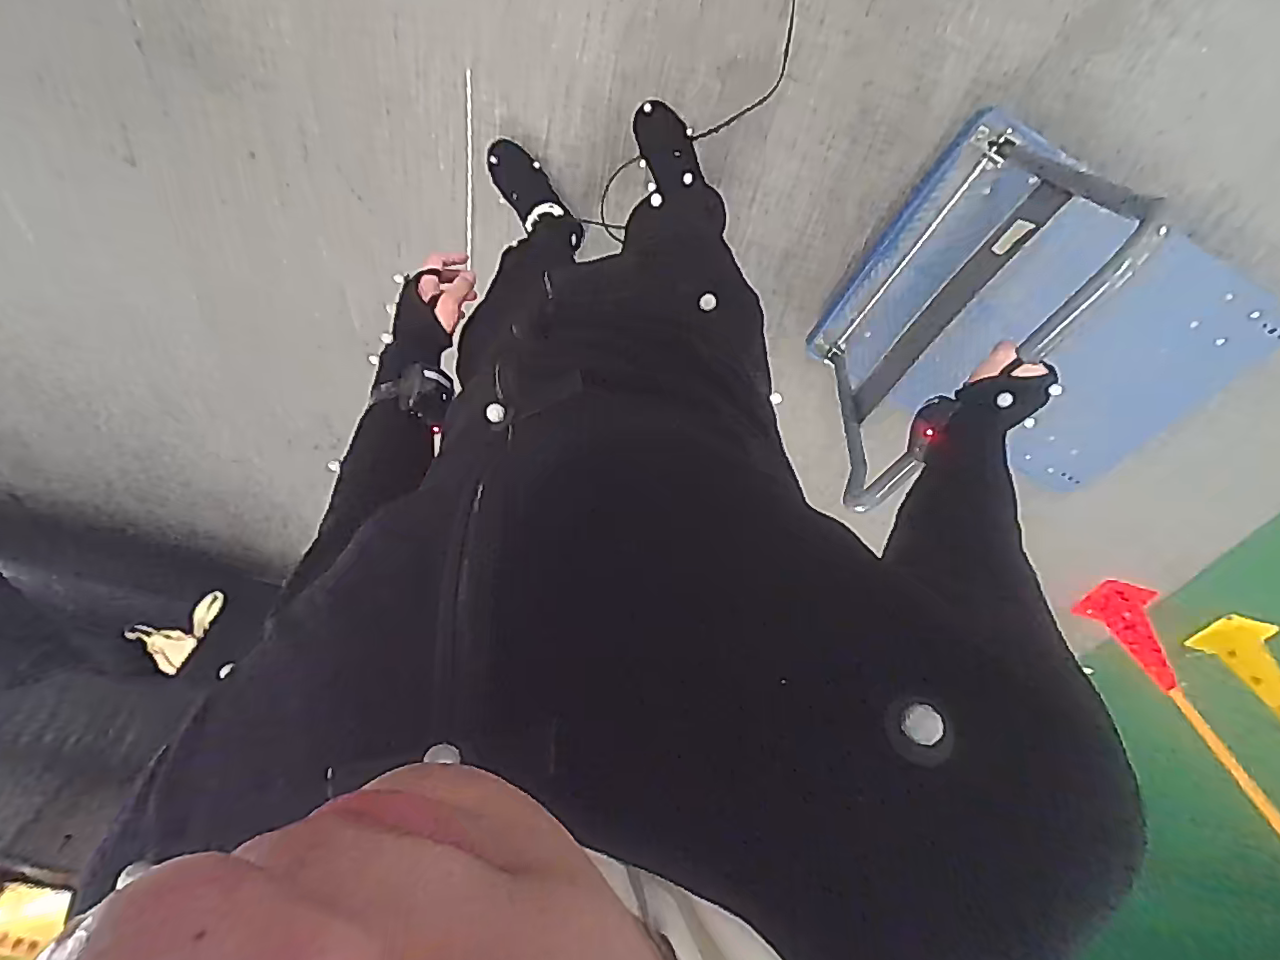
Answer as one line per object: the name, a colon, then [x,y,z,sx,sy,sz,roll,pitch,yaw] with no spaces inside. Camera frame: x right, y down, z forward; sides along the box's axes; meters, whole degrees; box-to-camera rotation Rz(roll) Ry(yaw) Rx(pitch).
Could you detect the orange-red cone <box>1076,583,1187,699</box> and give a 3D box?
orange-red cone: [1.674,0.549,1.785,0.199,0.360,0.198,14,130,-3]
